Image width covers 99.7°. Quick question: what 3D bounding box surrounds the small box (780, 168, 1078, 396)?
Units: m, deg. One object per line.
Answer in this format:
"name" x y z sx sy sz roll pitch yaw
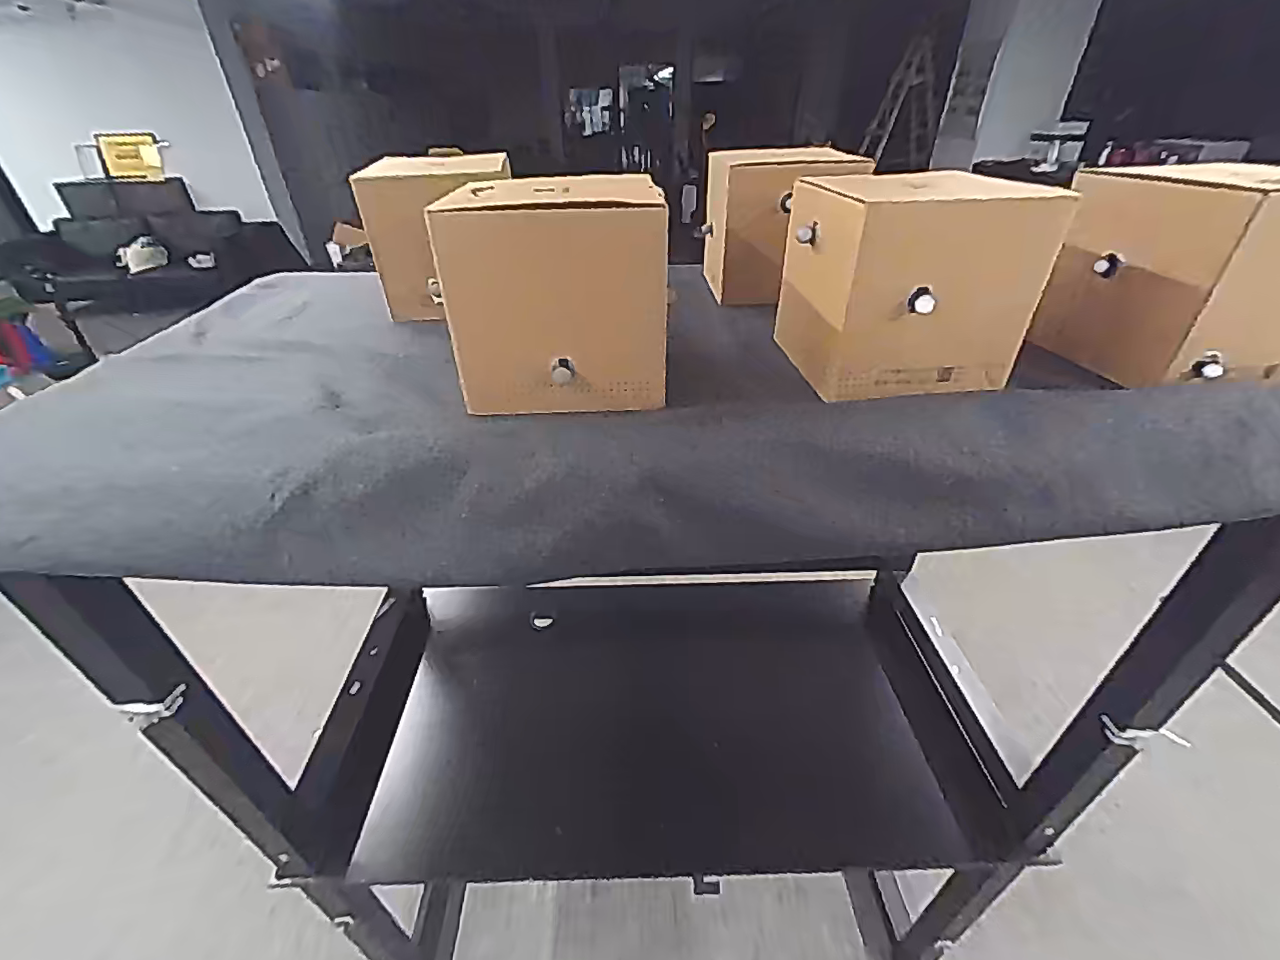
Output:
"small box" 0.241 -0.186 0.508 0.168 0.176 0.179 -3 34 -2

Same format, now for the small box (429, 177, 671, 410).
"small box" -0.069 -0.173 0.499 0.179 0.176 0.168 -2 34 -2

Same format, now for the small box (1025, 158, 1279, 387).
"small box" 0.516 -0.193 0.504 0.168 0.176 0.179 -5 34 -5

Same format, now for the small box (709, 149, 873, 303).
"small box" 0.189 -0.348 0.741 0.179 0.176 0.168 -2 36 -1

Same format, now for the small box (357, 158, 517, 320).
"small box" -0.243 -0.322 0.718 0.168 0.176 0.179 -6 35 -5
